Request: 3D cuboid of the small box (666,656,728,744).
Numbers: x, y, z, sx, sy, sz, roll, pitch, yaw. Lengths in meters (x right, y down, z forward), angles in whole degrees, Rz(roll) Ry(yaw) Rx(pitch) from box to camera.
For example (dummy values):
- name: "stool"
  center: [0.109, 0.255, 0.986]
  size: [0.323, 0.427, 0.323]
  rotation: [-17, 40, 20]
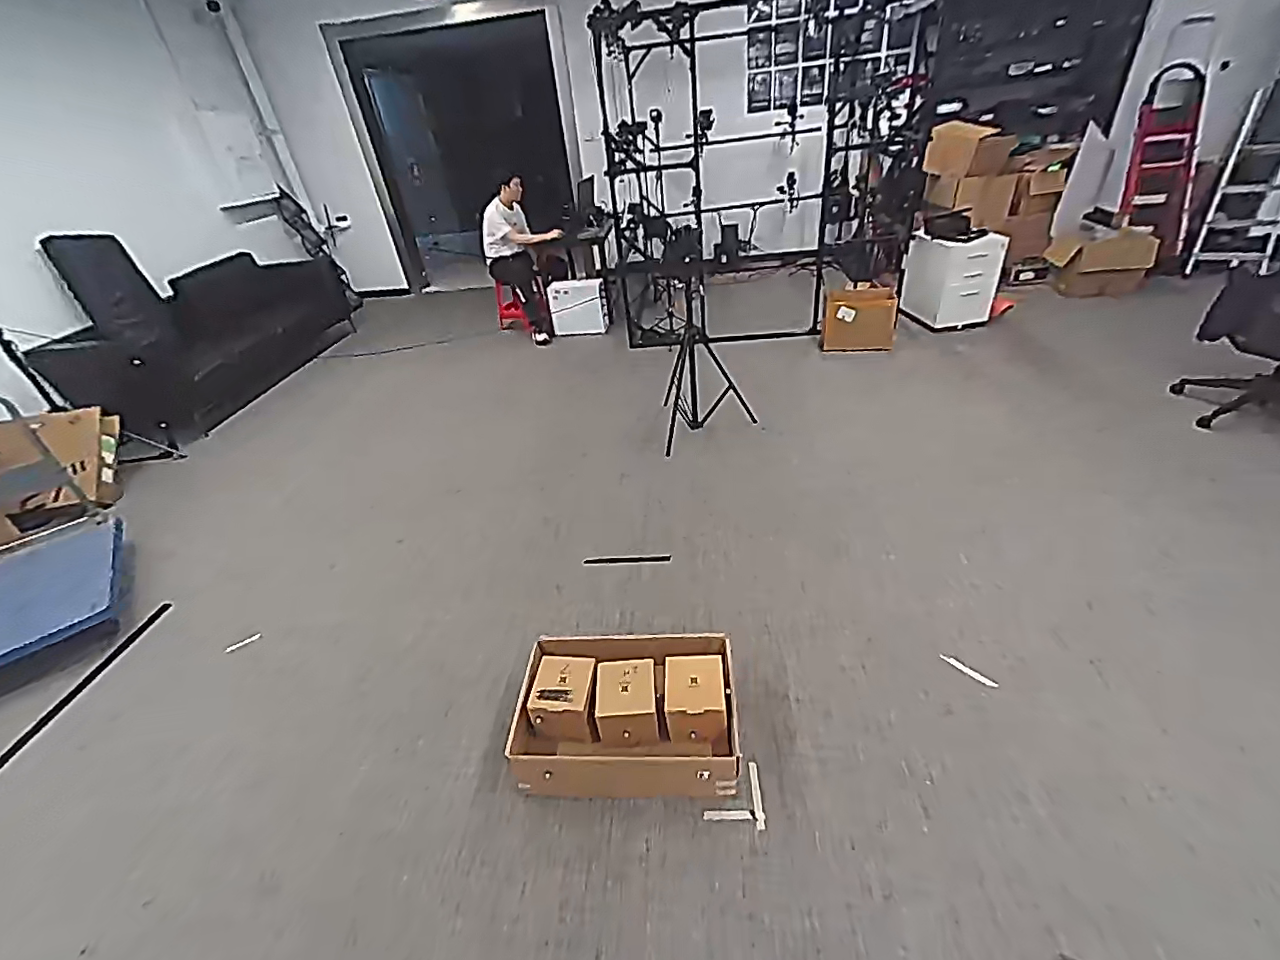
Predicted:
- name: "small box"
  center: [0.165, 0.633, 1.559]
  size: [0.168, 0.176, 0.179]
  rotation: [-5, 35, 7]

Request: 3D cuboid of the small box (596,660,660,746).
- name: "small box"
  center: [-0.031, 0.652, 1.570]
  size: [0.168, 0.176, 0.179]
  rotation: [-5, 34, 2]
